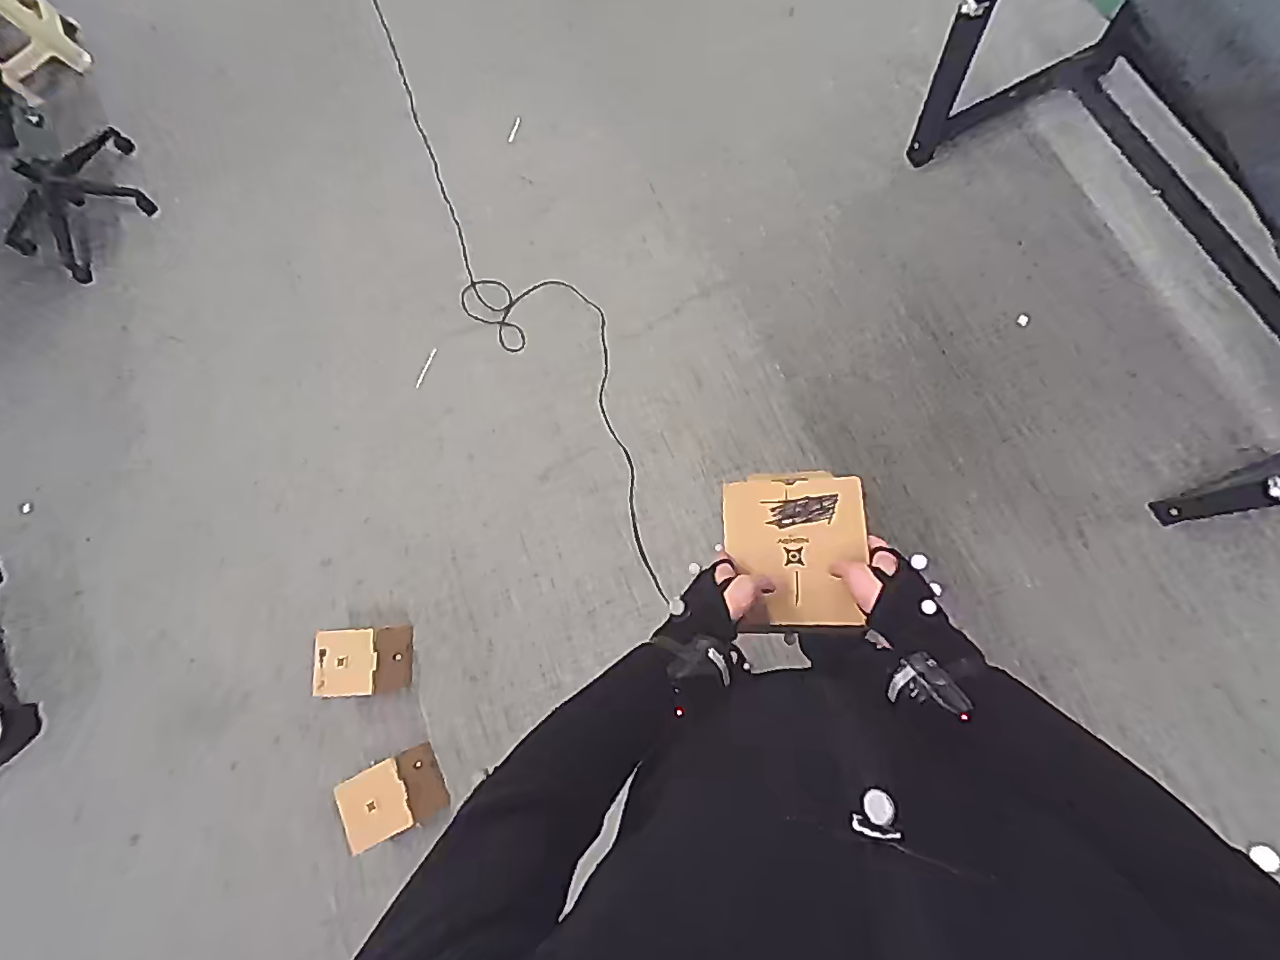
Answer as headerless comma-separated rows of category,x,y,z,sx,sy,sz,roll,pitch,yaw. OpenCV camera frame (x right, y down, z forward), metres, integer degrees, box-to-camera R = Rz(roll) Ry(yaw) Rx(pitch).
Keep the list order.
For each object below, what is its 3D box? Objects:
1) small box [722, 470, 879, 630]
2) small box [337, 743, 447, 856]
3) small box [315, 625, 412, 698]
small box,0.196,0.099,0.702,0.168,0.176,0.179,-5,71,12
small box,-0.622,0.805,1.382,0.179,0.176,0.168,-31,74,5
small box,-0.740,0.487,1.465,0.179,0.176,0.168,-5,79,9
